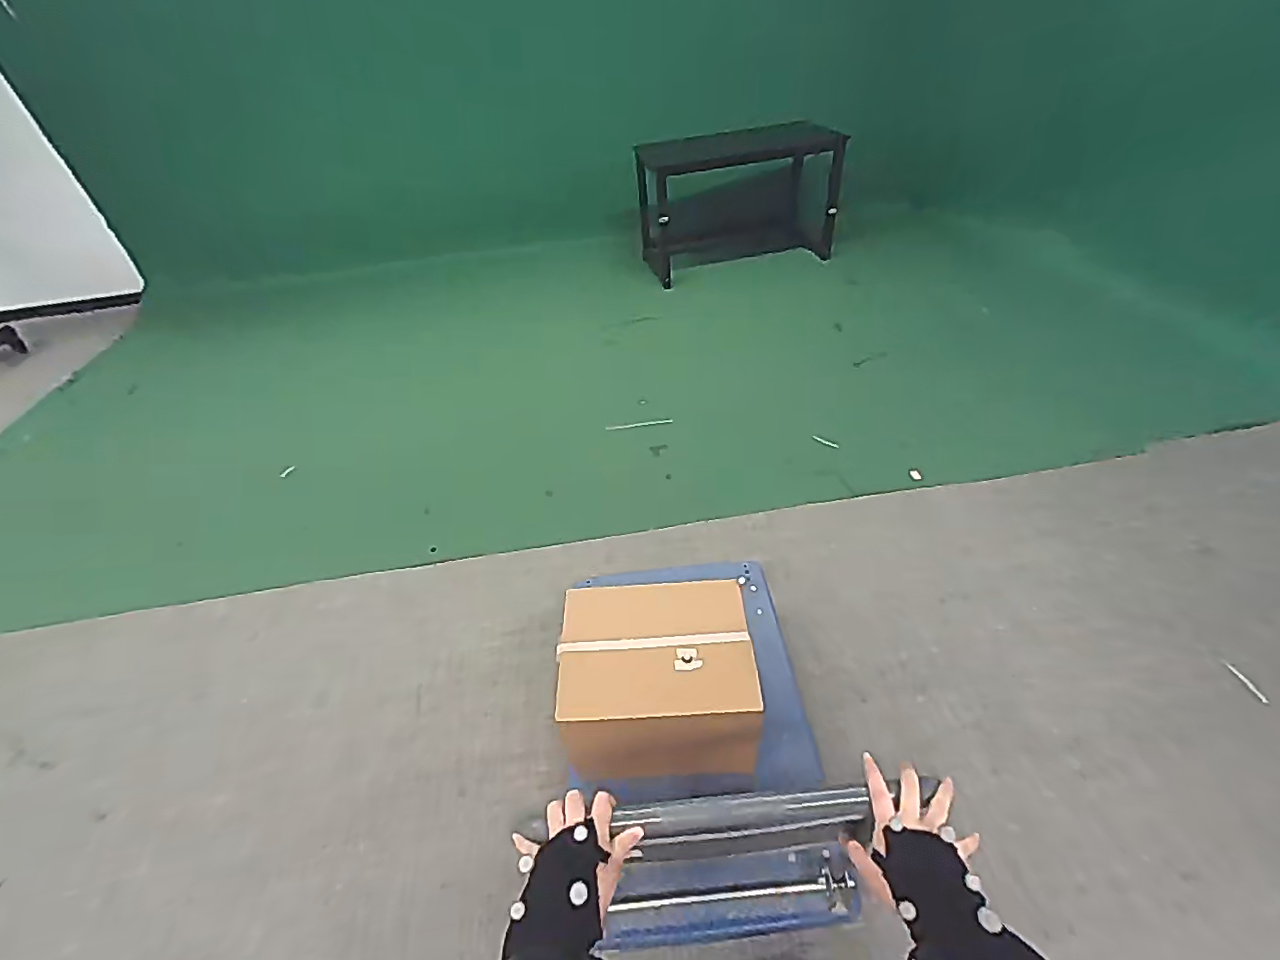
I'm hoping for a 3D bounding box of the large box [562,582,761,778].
[{"bbox_3d":[0.043,0.469,1.268,0.408,0.320,0.320,-4,42,1],"label":"large box"}]
